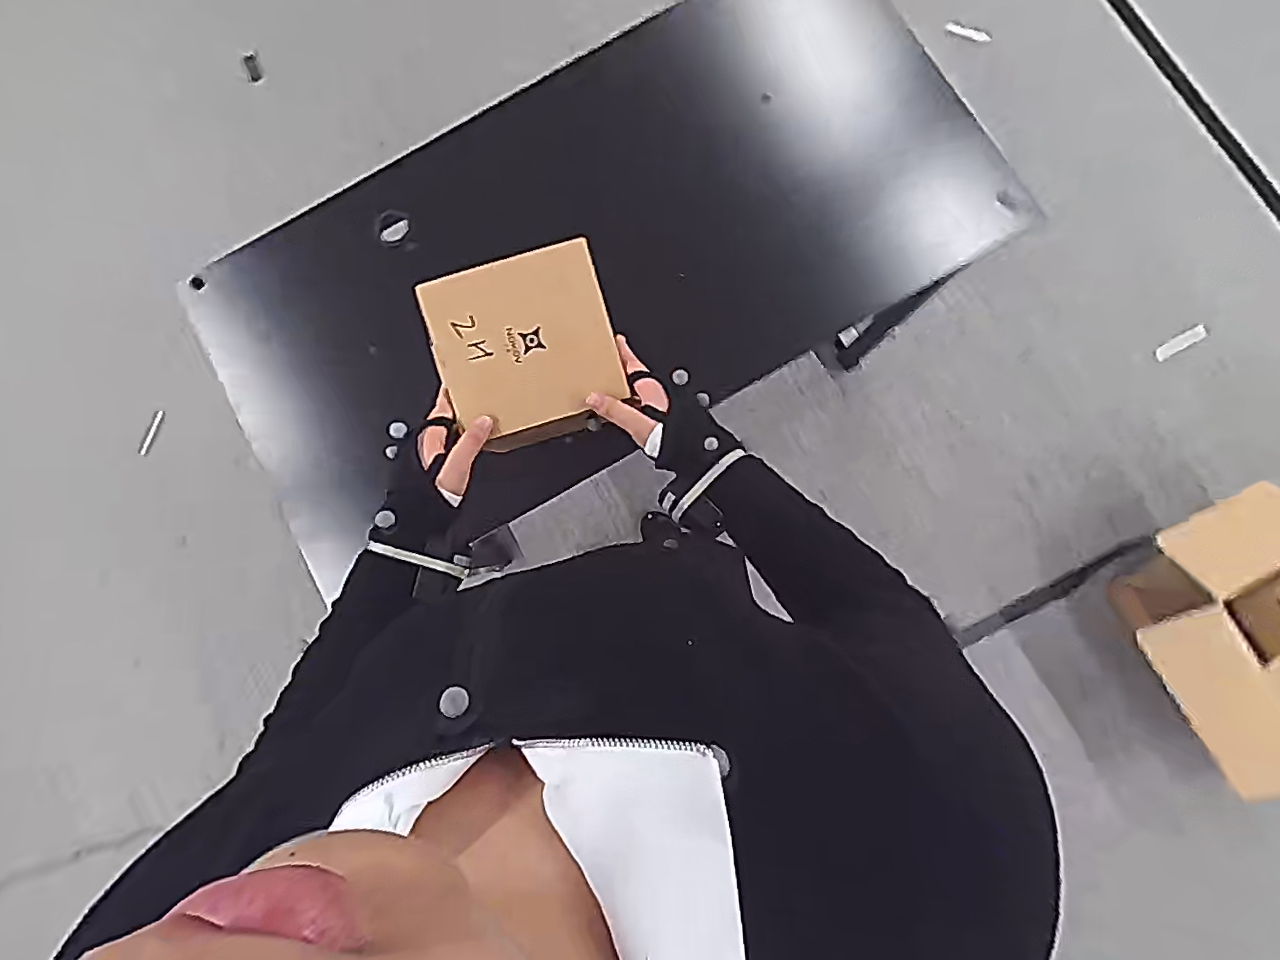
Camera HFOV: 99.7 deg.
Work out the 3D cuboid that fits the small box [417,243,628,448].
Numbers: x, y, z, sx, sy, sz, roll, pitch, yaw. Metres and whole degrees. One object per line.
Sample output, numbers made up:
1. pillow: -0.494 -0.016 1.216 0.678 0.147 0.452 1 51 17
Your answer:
1. small box: -0.119 -0.138 0.617 0.179 0.176 0.168 -16 92 0
